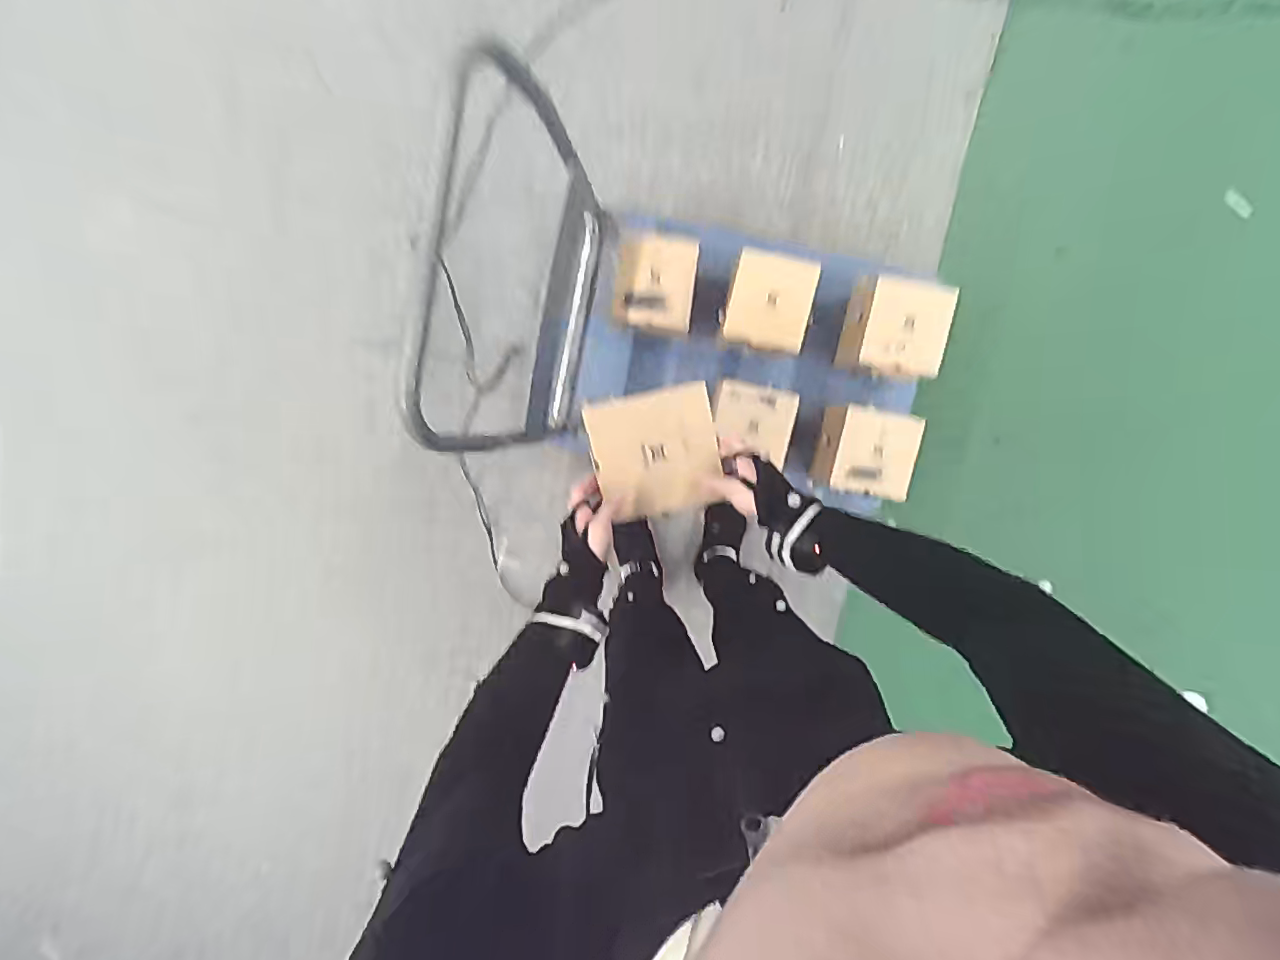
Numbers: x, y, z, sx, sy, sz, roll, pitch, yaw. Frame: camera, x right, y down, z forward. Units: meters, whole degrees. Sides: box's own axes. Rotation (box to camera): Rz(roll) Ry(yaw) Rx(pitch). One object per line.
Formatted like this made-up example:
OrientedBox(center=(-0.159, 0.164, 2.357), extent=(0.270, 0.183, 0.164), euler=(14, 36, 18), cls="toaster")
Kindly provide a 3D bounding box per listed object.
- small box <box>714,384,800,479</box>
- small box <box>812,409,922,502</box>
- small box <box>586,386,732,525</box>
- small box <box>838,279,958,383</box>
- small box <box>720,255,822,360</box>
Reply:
OrientedBox(center=(0.245, -0.113, 1.230), extent=(0.168, 0.176, 0.179), euler=(13, 98, 1), cls="small box")
OrientedBox(center=(0.509, -0.061, 1.240), extent=(0.168, 0.176, 0.179), euler=(11, 97, 1), cls="small box")
OrientedBox(center=(0.030, -0.036, 0.817), extent=(0.179, 0.176, 0.168), euler=(-12, 94, 3), cls="small box")
OrientedBox(center=(0.554, -0.318, 1.187), extent=(0.168, 0.176, 0.179), euler=(12, 98, 2), cls="small box")
OrientedBox(center=(0.279, -0.374, 1.197), extent=(0.168, 0.176, 0.179), euler=(13, 99, 1), cls="small box")
